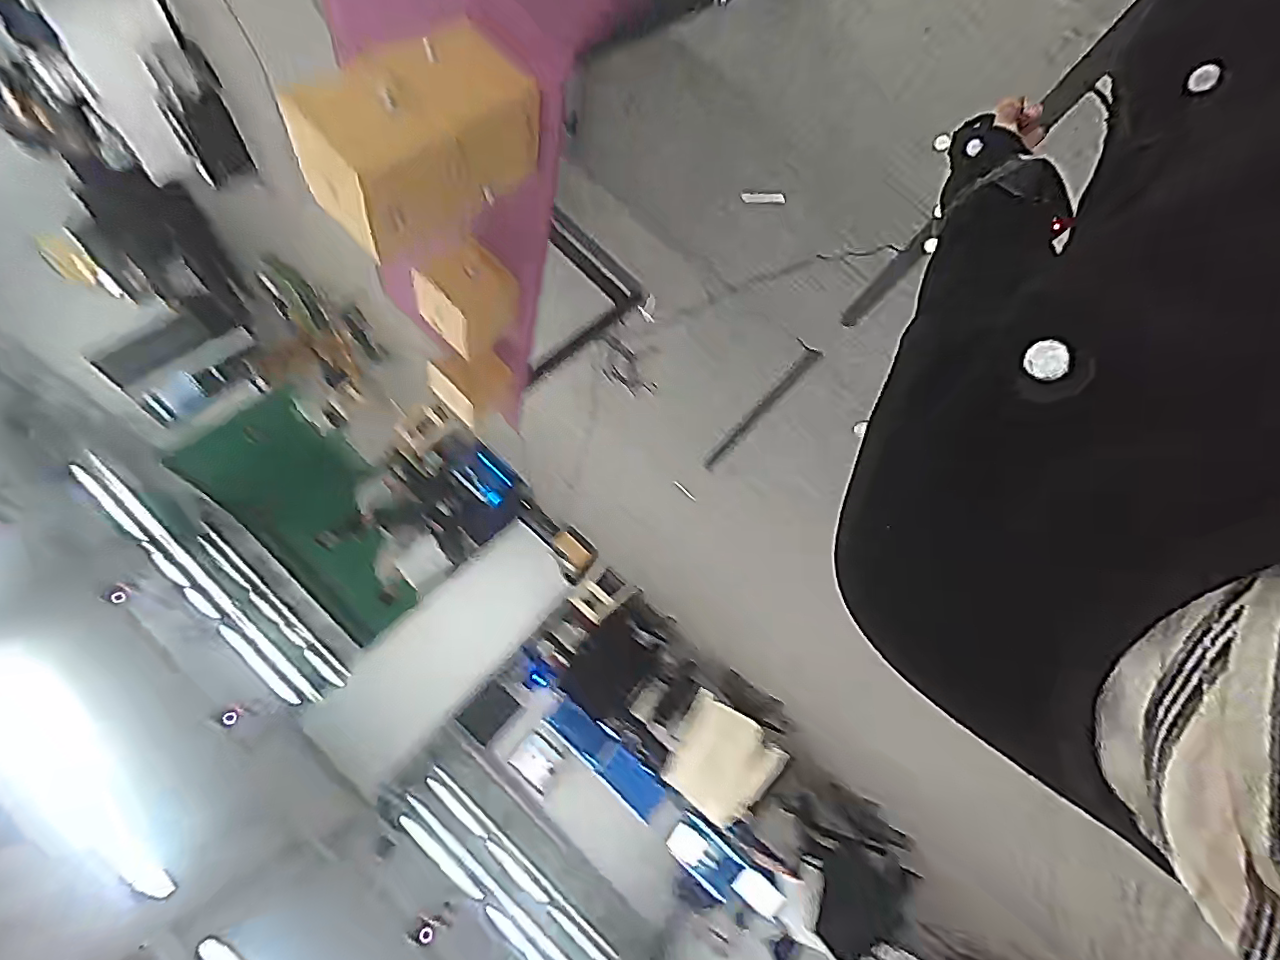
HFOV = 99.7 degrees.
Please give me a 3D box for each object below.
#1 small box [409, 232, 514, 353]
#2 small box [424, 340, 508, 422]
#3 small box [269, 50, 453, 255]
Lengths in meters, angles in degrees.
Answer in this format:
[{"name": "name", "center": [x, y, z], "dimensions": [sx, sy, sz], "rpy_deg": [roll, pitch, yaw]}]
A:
[{"name": "small box", "center": [-0.418, -0.446, 1.282], "dimensions": [0.168, 0.176, 0.179], "rpy_deg": [44, 154, 2]}, {"name": "small box", "center": [-0.519, -0.314, 1.626], "dimensions": [0.179, 0.176, 0.168], "rpy_deg": [45, 153, 3]}, {"name": "small box", "center": [-0.400, -0.488, 0.814], "dimensions": [0.168, 0.176, 0.179], "rpy_deg": [45, 155, 1]}]
